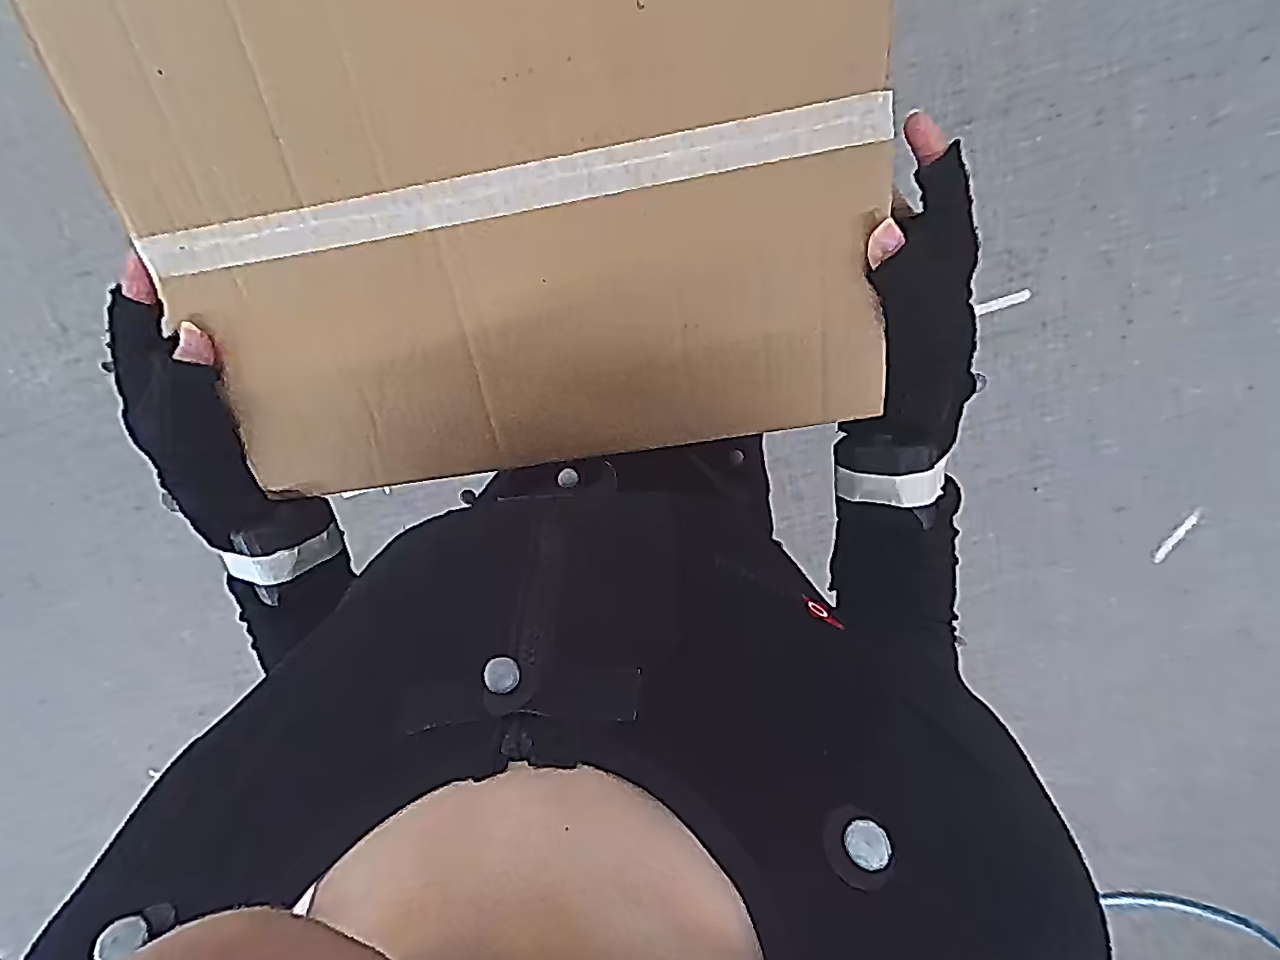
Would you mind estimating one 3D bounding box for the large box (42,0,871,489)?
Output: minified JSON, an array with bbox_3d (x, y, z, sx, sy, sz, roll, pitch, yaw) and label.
[{"bbox_3d":[-0.072,-0.222,0.429,0.408,0.320,0.320,-8,114,5],"label":"large box"}]
